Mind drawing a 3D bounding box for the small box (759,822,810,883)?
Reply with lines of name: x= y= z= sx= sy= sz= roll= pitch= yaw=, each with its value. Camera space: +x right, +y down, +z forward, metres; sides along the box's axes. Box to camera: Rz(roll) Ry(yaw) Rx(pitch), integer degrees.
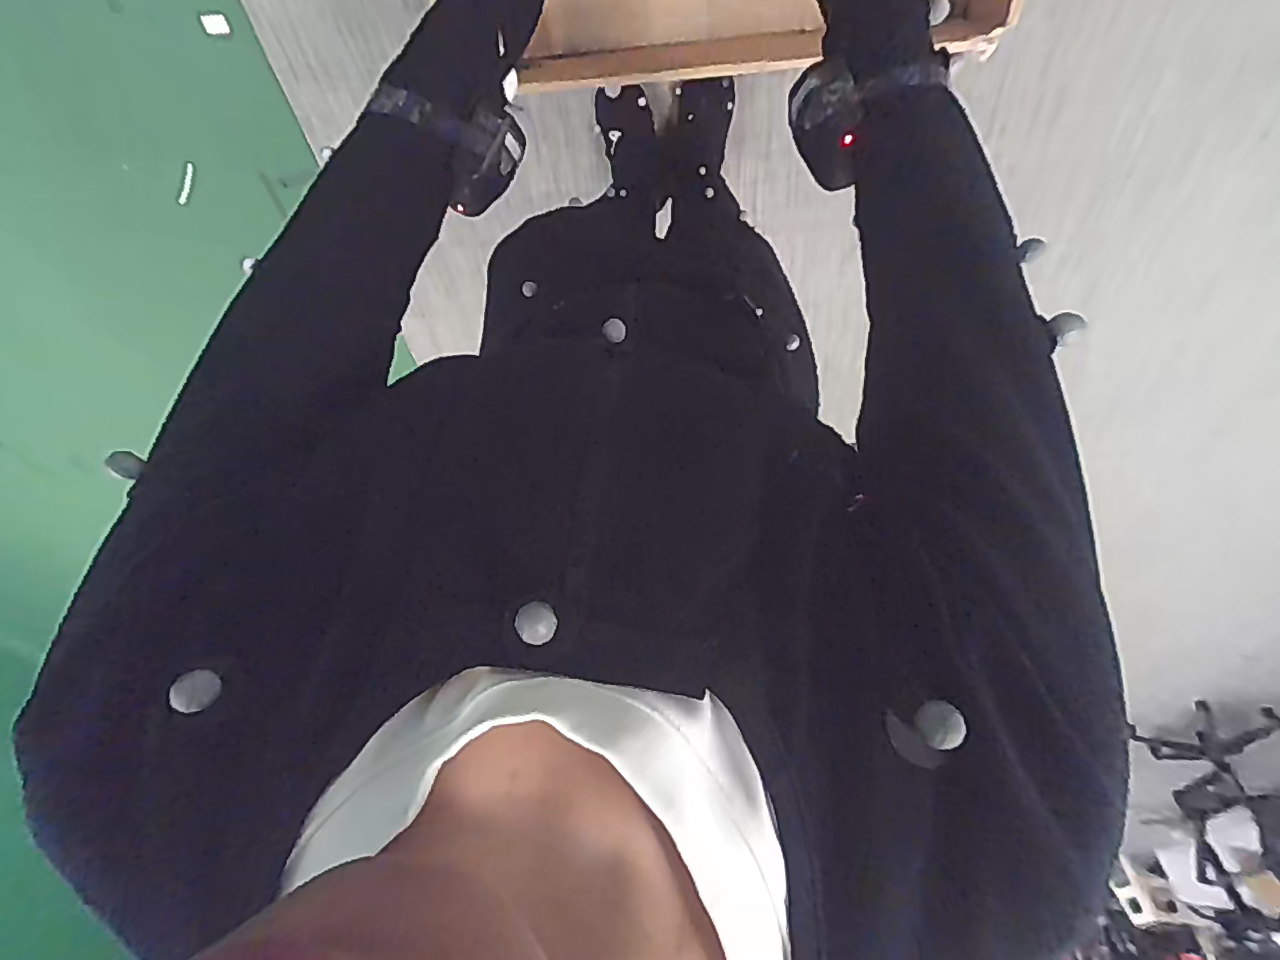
small box: x=0.559 y=1.445 z=2.101 sx=0.179 sy=0.176 sz=0.168 roll=-5 pitch=134 yaw=12
